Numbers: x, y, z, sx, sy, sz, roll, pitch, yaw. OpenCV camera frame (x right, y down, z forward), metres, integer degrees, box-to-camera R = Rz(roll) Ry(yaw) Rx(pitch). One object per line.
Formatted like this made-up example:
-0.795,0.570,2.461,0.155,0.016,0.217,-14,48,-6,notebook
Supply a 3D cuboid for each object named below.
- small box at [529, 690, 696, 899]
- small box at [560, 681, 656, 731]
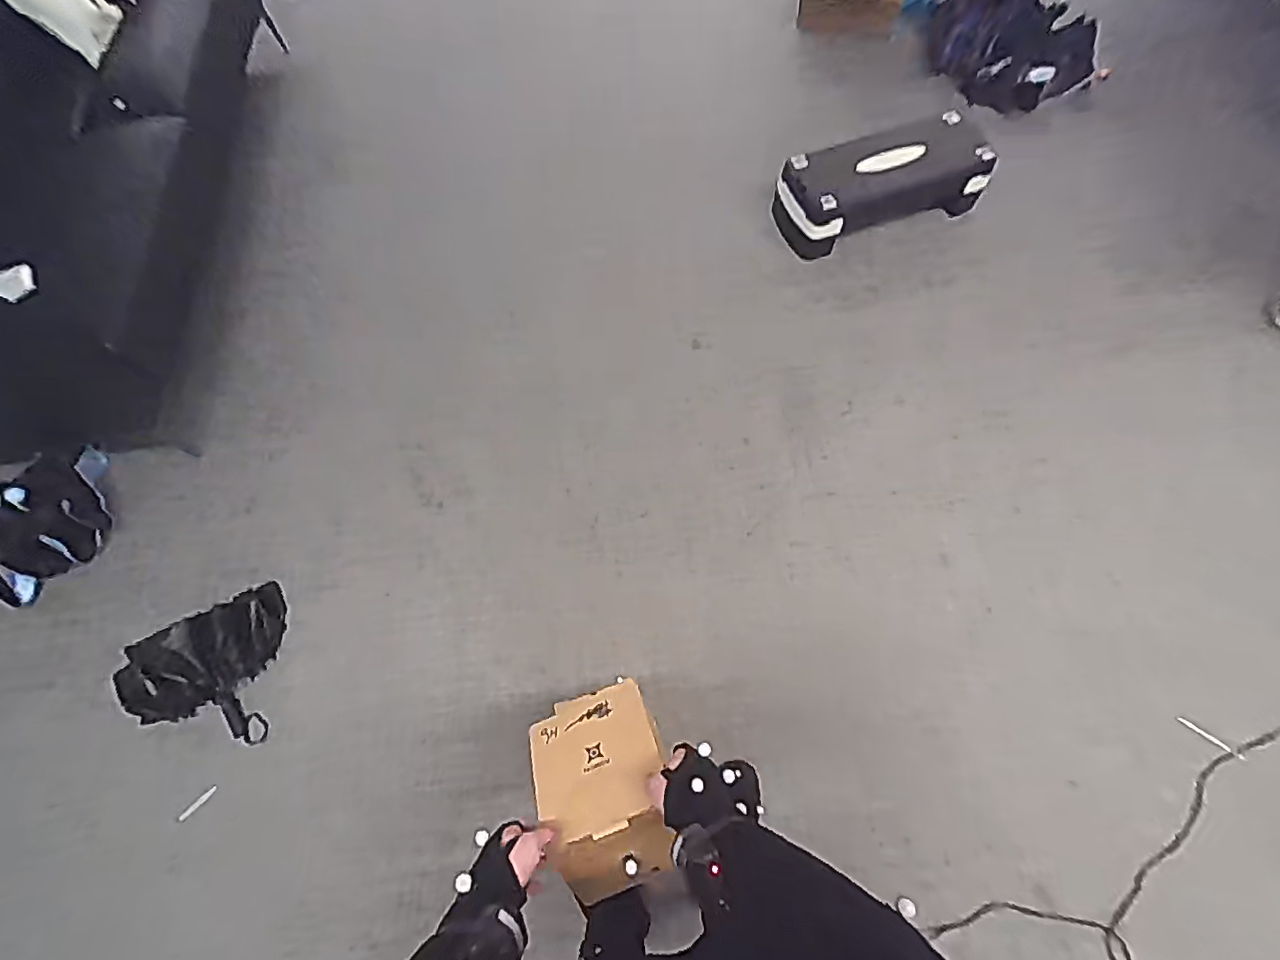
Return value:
-0.037,0.432,0.739,0.168,0.176,0.179,-21,35,-4,small box
-0.053,0.529,1.104,0.168,0.176,0.179,-18,68,-4,small box
